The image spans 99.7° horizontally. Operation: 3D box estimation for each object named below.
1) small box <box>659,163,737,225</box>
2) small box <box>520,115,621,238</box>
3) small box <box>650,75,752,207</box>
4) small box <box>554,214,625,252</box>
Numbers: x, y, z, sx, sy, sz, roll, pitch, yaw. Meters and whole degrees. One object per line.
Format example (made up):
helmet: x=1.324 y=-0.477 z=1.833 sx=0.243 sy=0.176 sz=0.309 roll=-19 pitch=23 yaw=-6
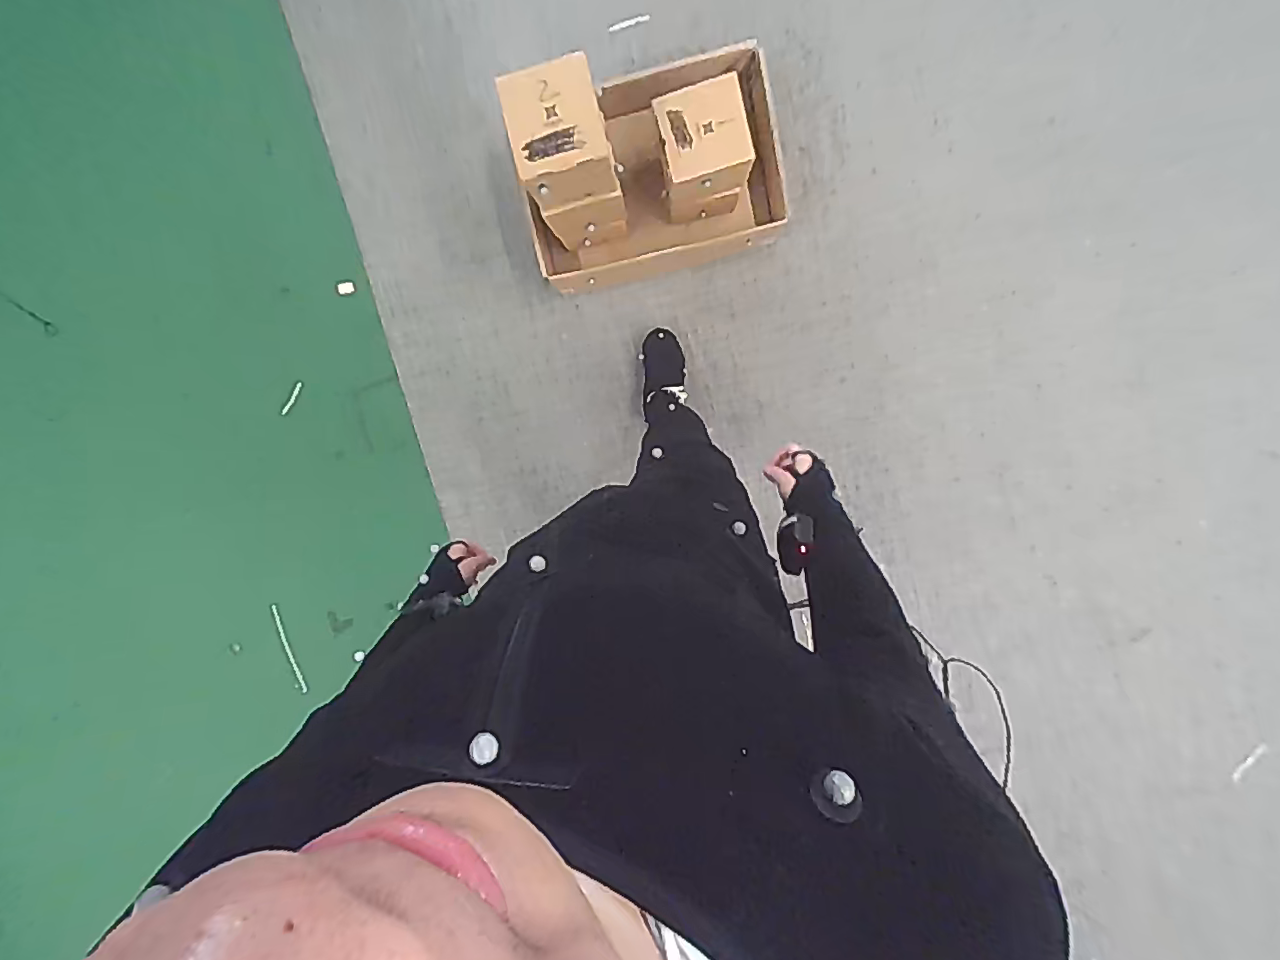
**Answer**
small box: x=0.137 y=-0.741 z=1.319 sx=0.168 sy=0.176 sz=0.179 roll=-10 pitch=100 yaw=6
small box: x=-0.141 y=-0.652 z=1.182 sx=0.179 sy=0.176 sz=0.168 roll=-13 pitch=98 yaw=4
small box: x=0.128 y=-0.711 z=1.156 sx=0.179 sy=0.176 sz=0.168 roll=-15 pitch=100 yaw=5
small box: x=-0.137 y=-0.682 z=1.343 sx=0.168 sy=0.176 sz=0.179 roll=-12 pitch=98 yaw=4
